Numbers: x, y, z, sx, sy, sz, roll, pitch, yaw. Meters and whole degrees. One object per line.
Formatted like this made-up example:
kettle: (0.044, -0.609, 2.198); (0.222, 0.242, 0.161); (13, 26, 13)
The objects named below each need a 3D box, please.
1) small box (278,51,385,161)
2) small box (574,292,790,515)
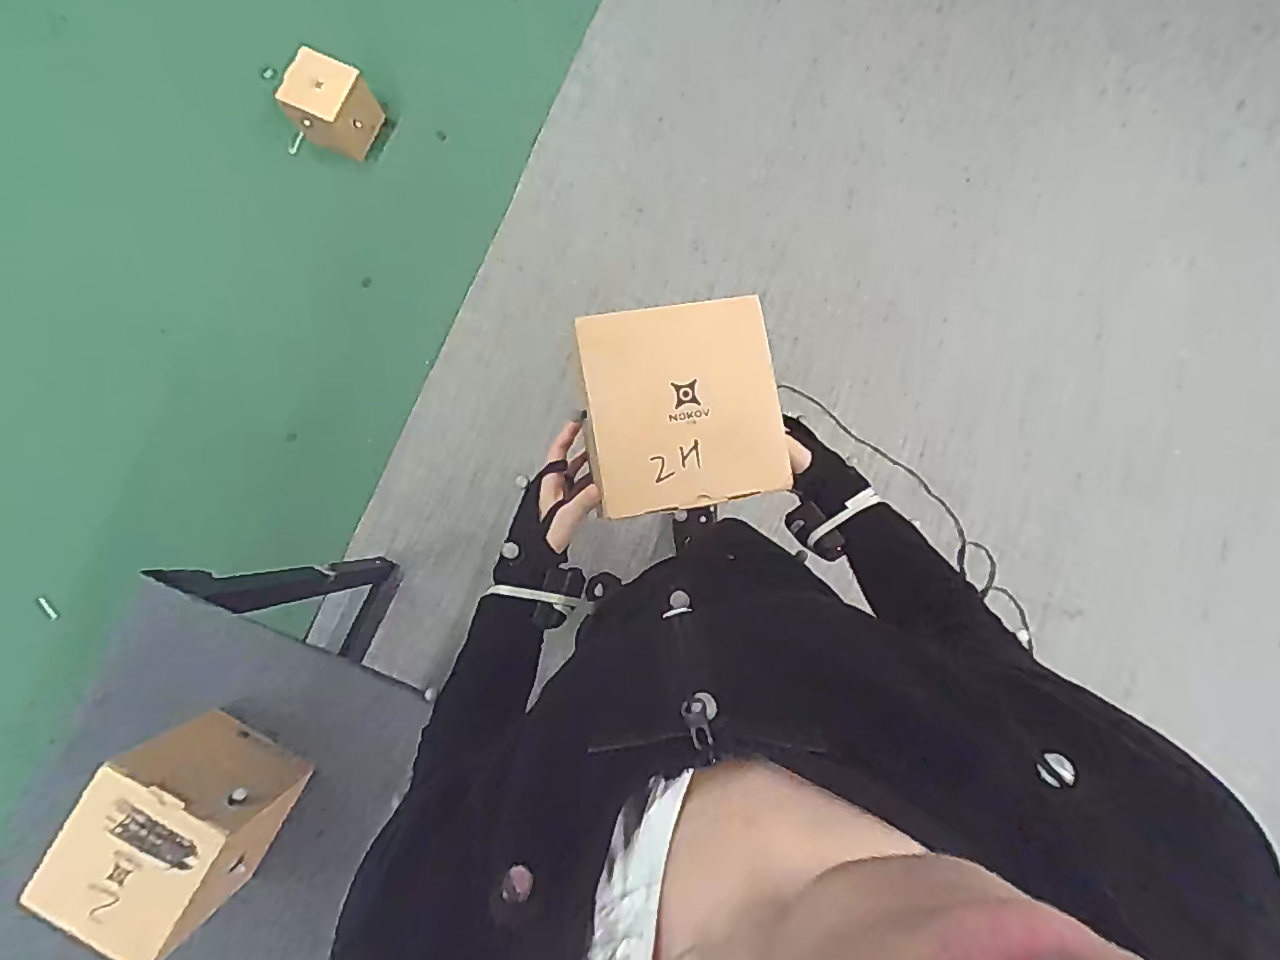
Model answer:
small box: (-0.863, -1.049, 1.533); (0.179, 0.176, 0.168); (24, 85, 3)
small box: (0.027, -0.064, 0.542); (0.168, 0.176, 0.179); (-10, 88, -7)
